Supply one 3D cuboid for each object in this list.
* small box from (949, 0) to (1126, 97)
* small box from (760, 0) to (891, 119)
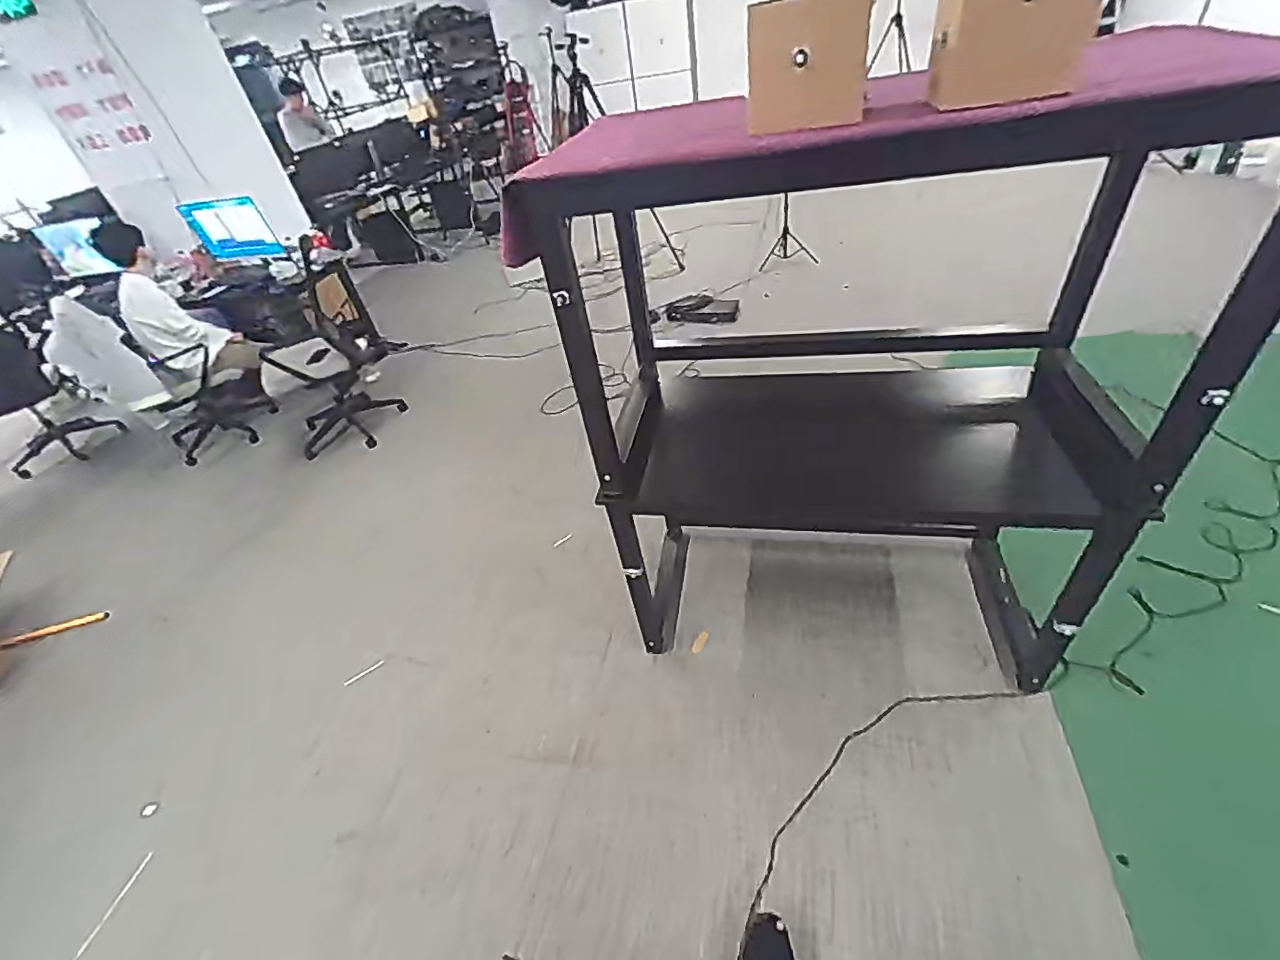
[{"bbox_3d":[0.549,-0.652,0.754,0.179,0.176,0.168,4,42,15],"label":"small box"},{"bbox_3d":[0.286,-0.677,0.832,0.179,0.176,0.168,6,42,19],"label":"small box"}]
